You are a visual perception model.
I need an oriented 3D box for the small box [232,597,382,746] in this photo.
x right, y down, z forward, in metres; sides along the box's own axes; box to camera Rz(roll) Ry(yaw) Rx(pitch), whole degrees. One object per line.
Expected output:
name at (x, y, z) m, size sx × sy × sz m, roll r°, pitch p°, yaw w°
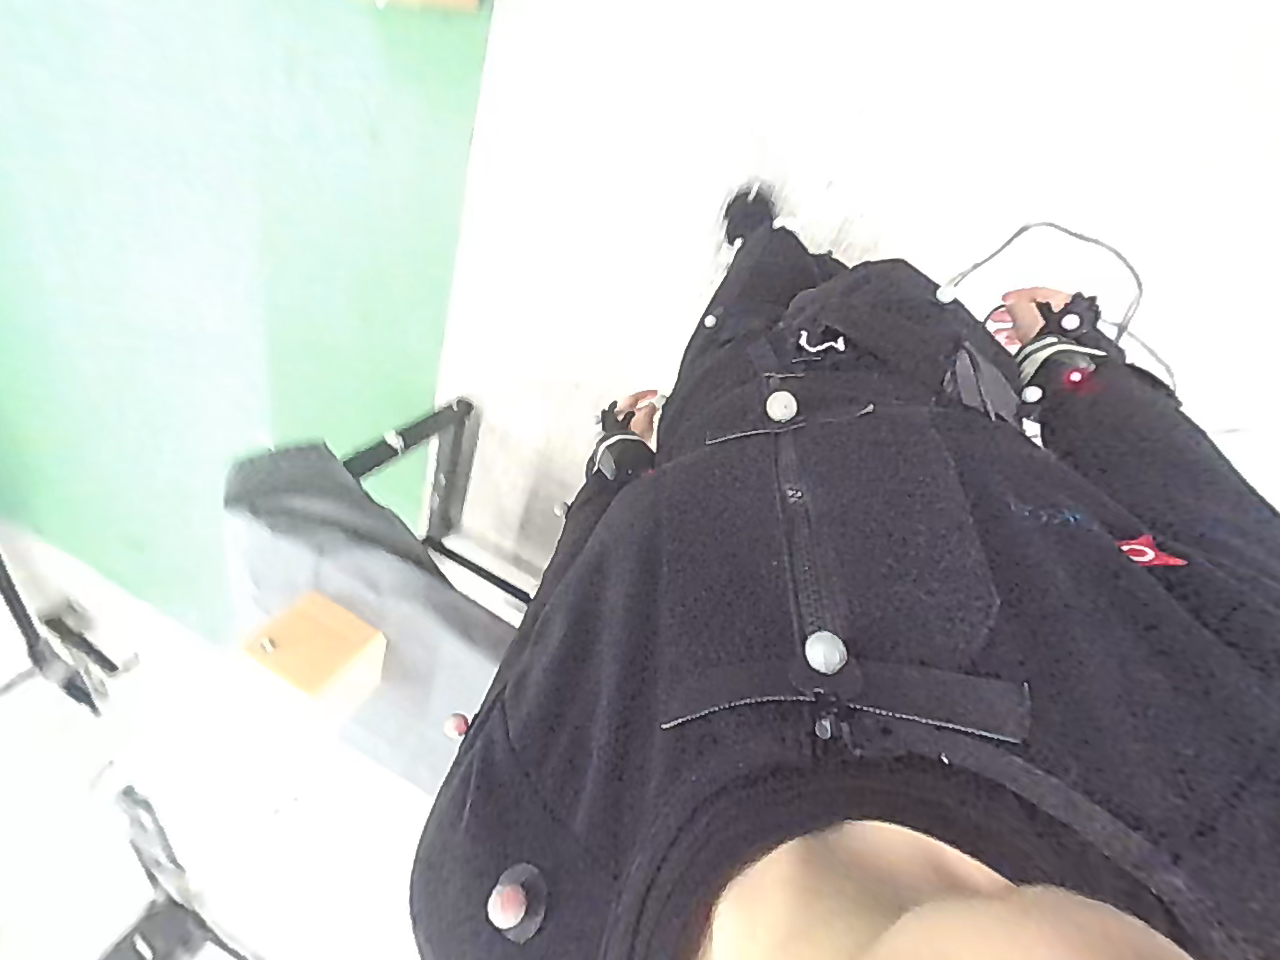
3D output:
small box at (-0.620, 0.355, 1.023) m, size 0.179 × 0.176 × 0.168 m, roll 29°, pitch 124°, yaw 5°

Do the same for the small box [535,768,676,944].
small box at (-0.055, 0.653, 0.953) m, size 0.179 × 0.176 × 0.168 m, roll 27°, pitch 123°, yaw 8°
